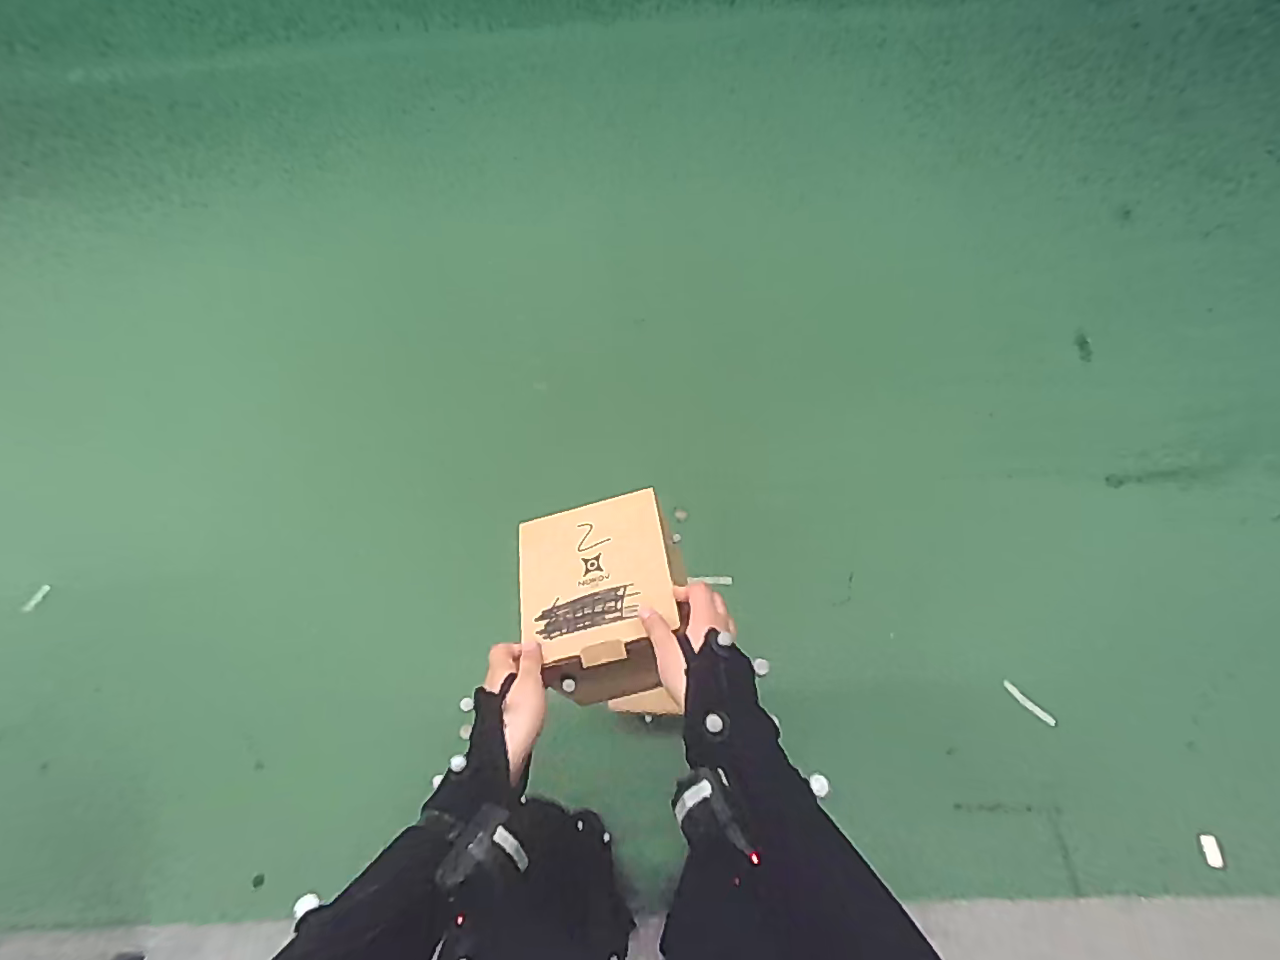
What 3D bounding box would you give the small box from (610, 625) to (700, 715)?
[{"bbox_3d":[0.035,0.408,1.154,0.179,0.176,0.168,0,65,4],"label":"small box"}]
